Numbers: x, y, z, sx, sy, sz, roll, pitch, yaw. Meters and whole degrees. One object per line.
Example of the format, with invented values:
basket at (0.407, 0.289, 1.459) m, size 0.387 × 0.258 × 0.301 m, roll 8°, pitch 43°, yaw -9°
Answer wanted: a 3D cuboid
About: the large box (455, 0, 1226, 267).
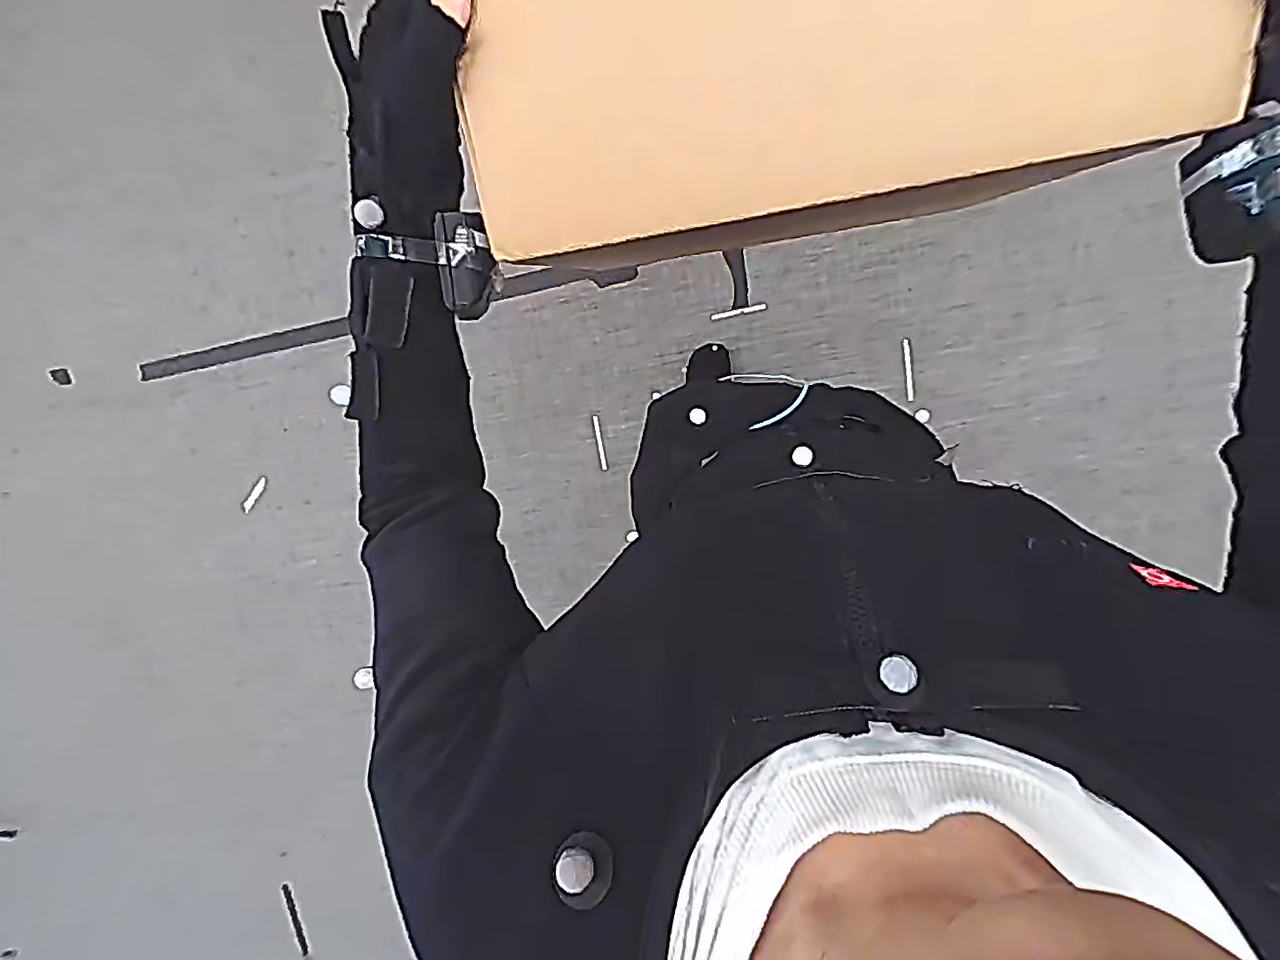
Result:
large box at (0.100, -0.365, 0.412) m, size 0.408 × 0.320 × 0.320 m, roll -6°, pitch 110°, yaw 10°
